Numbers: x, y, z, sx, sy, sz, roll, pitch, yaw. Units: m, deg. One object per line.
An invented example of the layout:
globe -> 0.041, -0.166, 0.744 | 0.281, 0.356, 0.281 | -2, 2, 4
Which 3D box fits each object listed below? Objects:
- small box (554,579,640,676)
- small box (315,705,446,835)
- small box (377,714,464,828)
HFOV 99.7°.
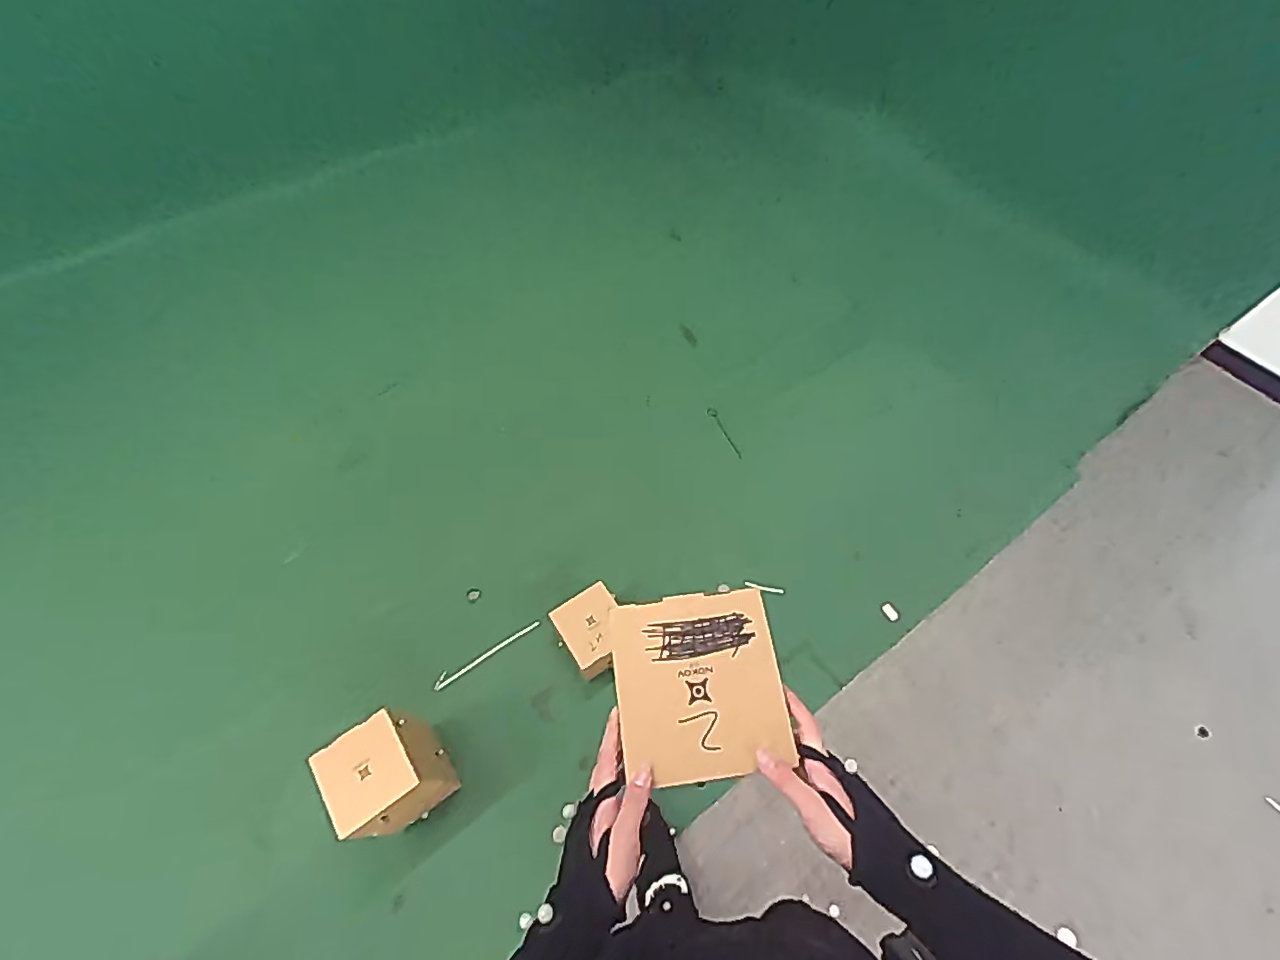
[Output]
small box -> -0.116, 0.405, 1.468 | 0.168, 0.176, 0.179 | -30, 65, -17
small box -> -0.543, 0.613, 1.153 | 0.168, 0.176, 0.179 | -32, 65, -17
small box -> -0.548, 0.694, 1.292 | 0.168, 0.176, 0.179 | -32, 66, -17
